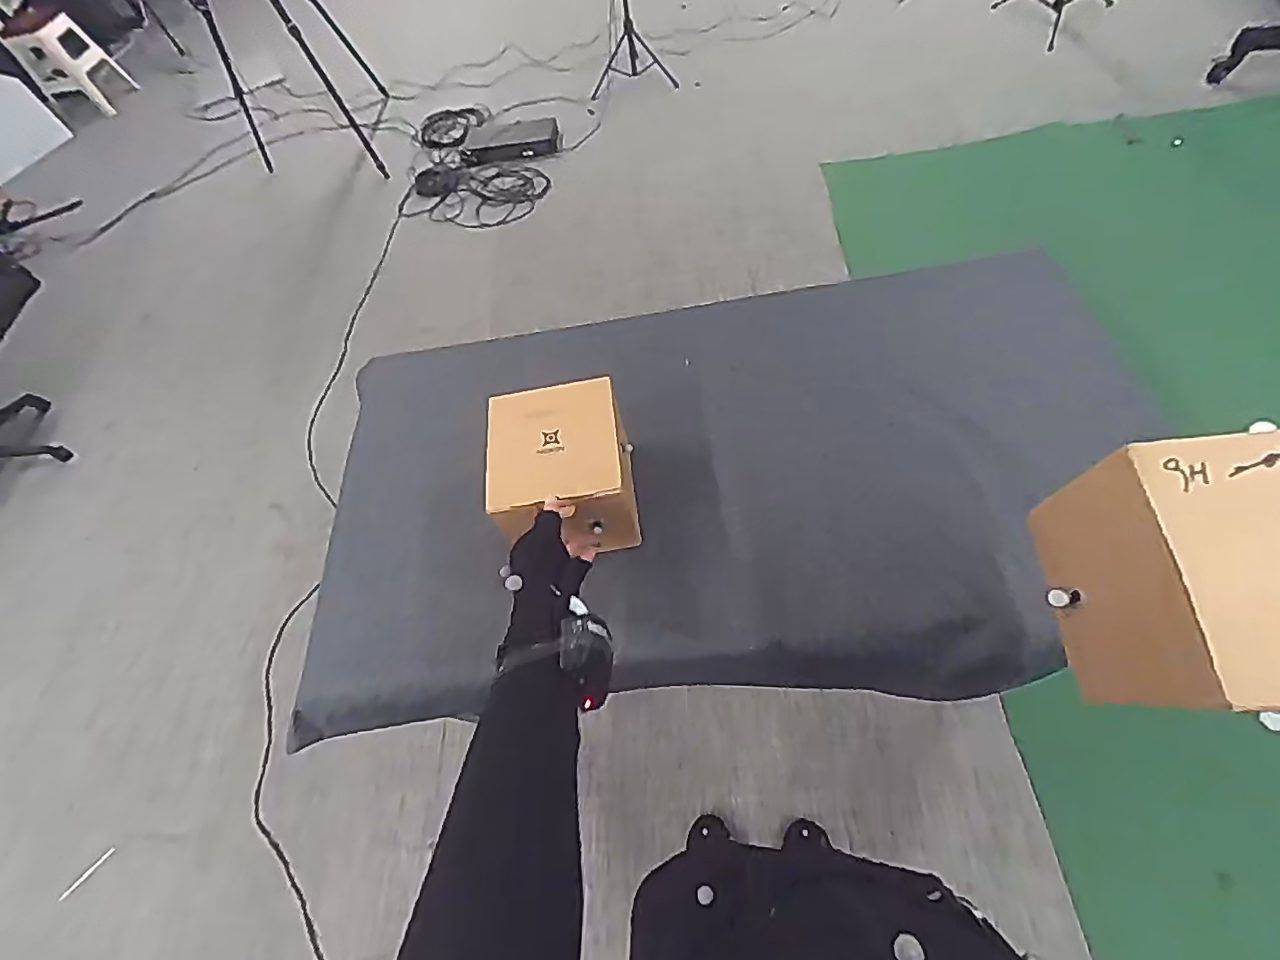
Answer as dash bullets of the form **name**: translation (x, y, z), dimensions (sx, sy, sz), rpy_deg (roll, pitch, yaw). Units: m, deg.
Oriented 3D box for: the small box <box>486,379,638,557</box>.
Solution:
- **small box**: translation (-0.099, -0.007, 0.736), dimensions (0.168, 0.176, 0.179), rpy_deg (-9, 58, 2)
